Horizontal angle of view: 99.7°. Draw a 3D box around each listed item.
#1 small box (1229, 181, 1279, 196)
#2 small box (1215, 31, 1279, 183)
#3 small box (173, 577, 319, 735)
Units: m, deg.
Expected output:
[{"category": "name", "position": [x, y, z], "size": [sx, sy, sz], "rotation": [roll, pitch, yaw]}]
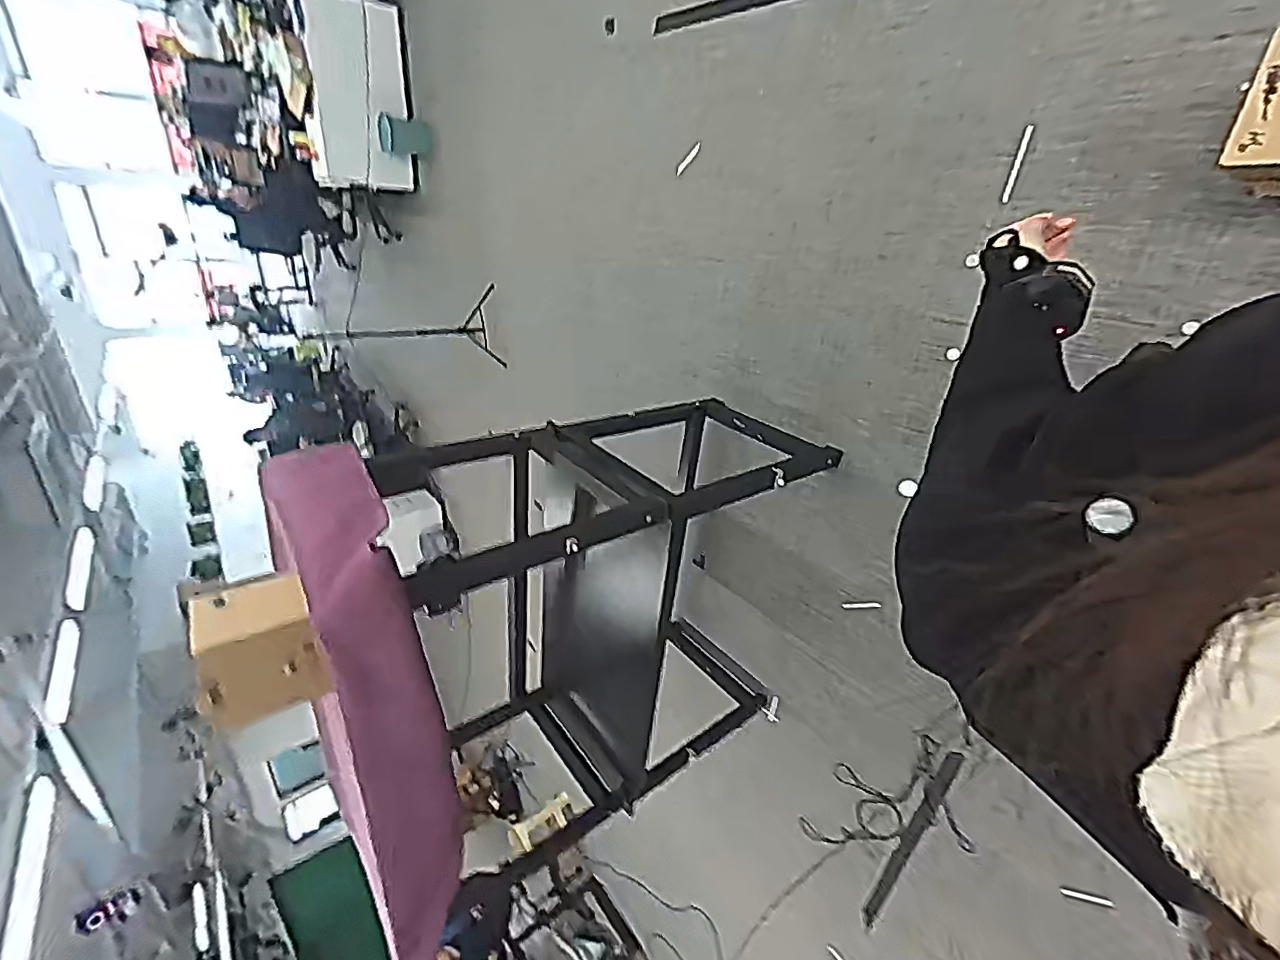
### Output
[{"category": "small box", "position": [1.073, -0.534, 0.827], "size": [0.168, 0.176, 0.179], "rotation": [35, 127, 40]}, {"category": "small box", "position": [0.943, -0.504, 0.730], "size": [0.179, 0.176, 0.168], "rotation": [29, 124, 42]}, {"category": "small box", "position": [-0.665, 0.284, 0.923], "size": [0.179, 0.176, 0.168], "rotation": [26, 123, 46]}]
